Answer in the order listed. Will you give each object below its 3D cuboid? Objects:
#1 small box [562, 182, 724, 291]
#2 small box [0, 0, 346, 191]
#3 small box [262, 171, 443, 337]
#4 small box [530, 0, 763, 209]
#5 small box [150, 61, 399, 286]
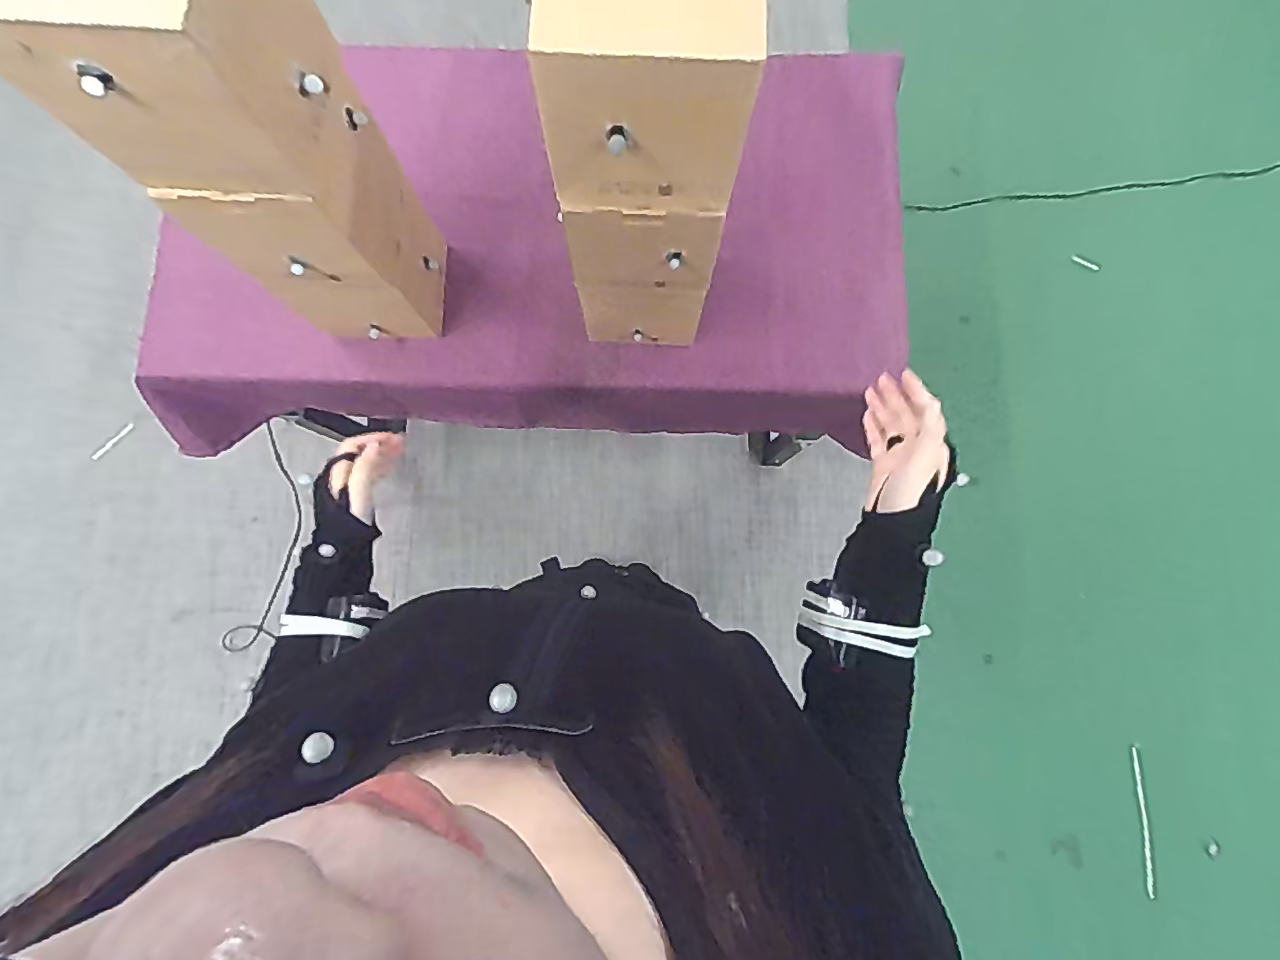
[{"bbox_3d":[0.006,-0.337,0.626,0.168,0.176,0.179,2,81,-1],"label":"small box"},{"bbox_3d":[-0.388,-0.374,0.458,0.179,0.176,0.168,3,81,-1],"label":"small box"},{"bbox_3d":[-0.399,-0.319,0.783,0.179,0.176,0.168,0,81,-2],"label":"small box"},{"bbox_3d":[0.007,-0.362,0.466,0.168,0.176,0.179,2,81,-1],"label":"small box"},{"bbox_3d":[-0.396,-0.349,0.621,0.168,0.176,0.179,1,82,0],"label":"small box"}]
